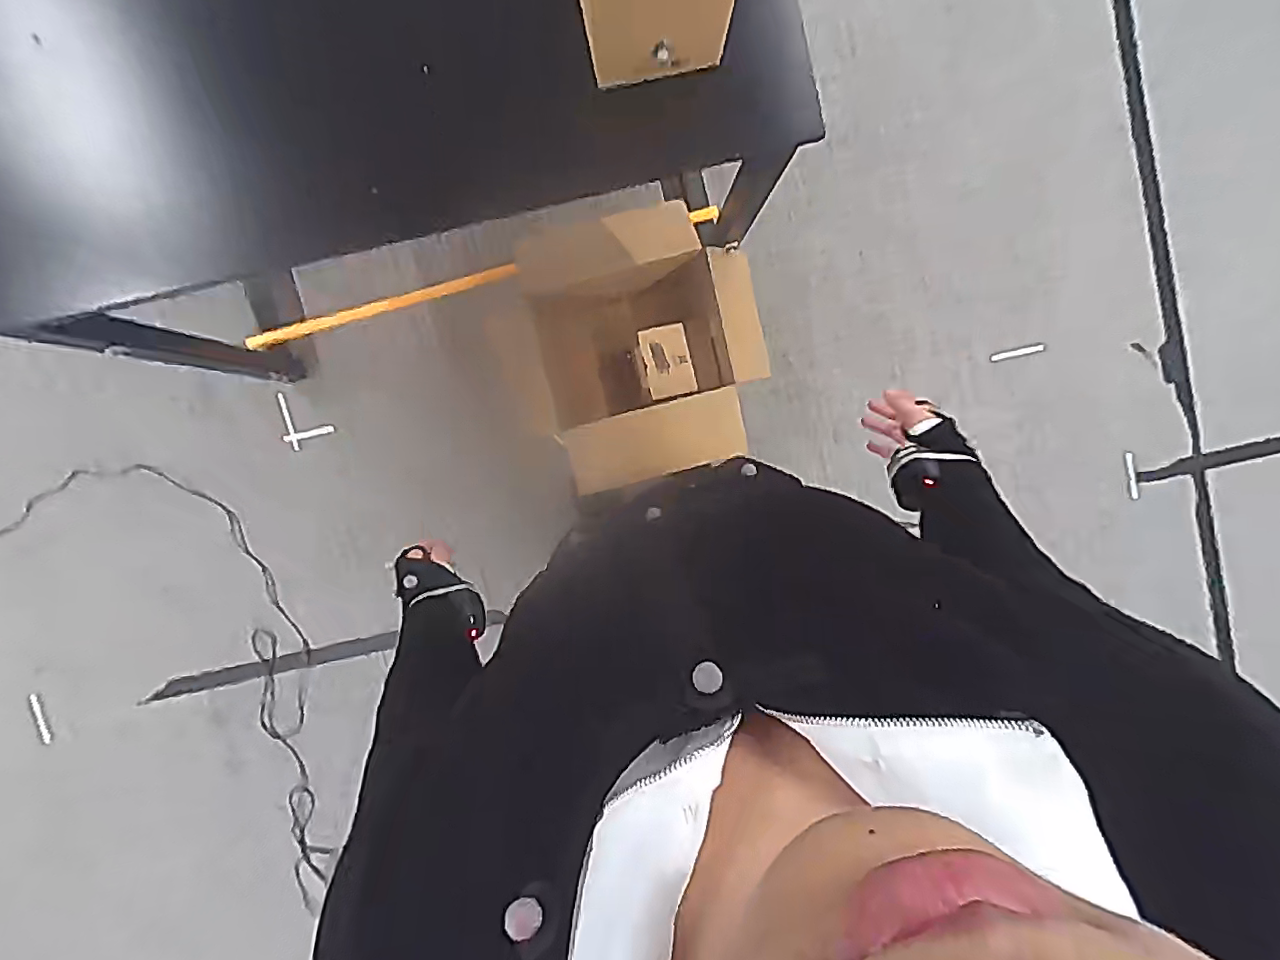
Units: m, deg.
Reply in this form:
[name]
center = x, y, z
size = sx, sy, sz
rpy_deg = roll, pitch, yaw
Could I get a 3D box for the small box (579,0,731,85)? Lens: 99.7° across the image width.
[small box]
center = 0.007, -0.613, 0.628
size = 0.168, 0.176, 0.179
rpy_deg = -12, 94, 0
